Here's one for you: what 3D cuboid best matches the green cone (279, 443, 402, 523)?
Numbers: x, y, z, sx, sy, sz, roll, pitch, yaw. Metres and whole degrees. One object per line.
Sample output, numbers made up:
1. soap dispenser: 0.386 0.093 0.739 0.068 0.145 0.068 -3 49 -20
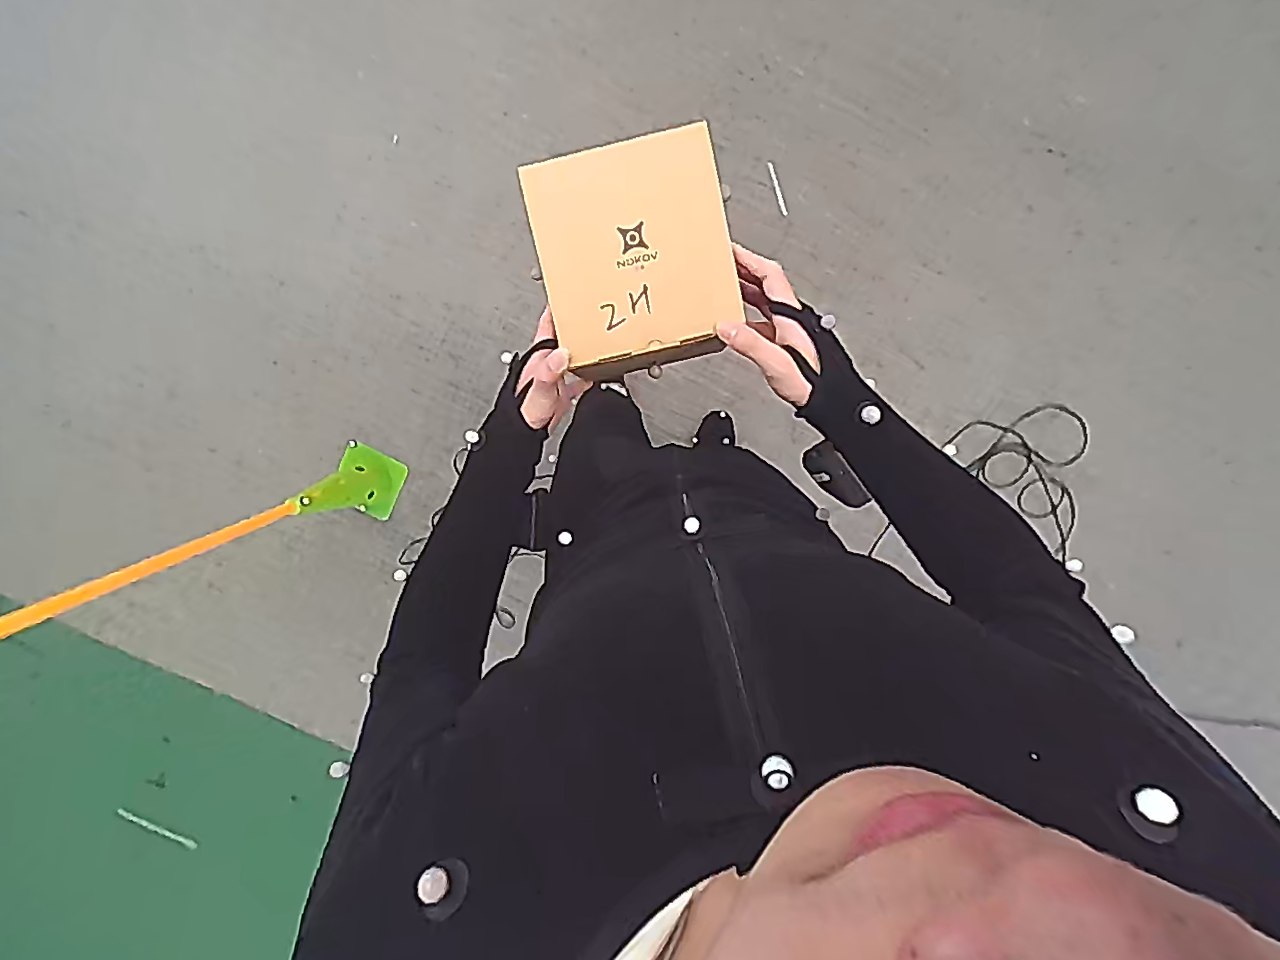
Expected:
1. green cone: -0.847 0.047 1.471 0.202 0.368 0.200 27 102 -3
